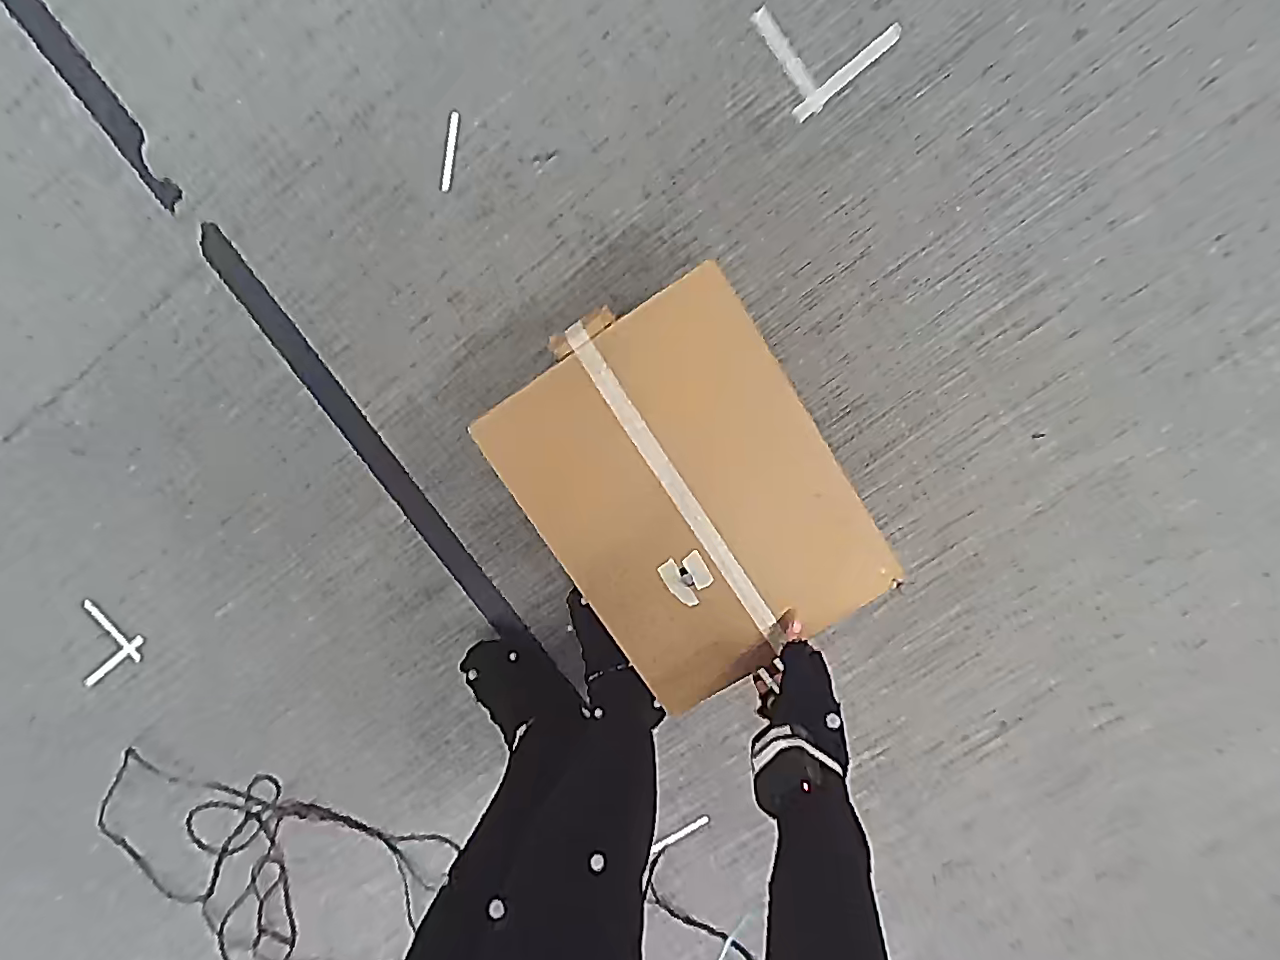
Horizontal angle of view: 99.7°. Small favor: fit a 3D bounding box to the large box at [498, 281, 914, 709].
[{"bbox_3d":[0.078,0.006,0.745,0.320,0.320,0.408,-32,98,8],"label":"large box"}]
